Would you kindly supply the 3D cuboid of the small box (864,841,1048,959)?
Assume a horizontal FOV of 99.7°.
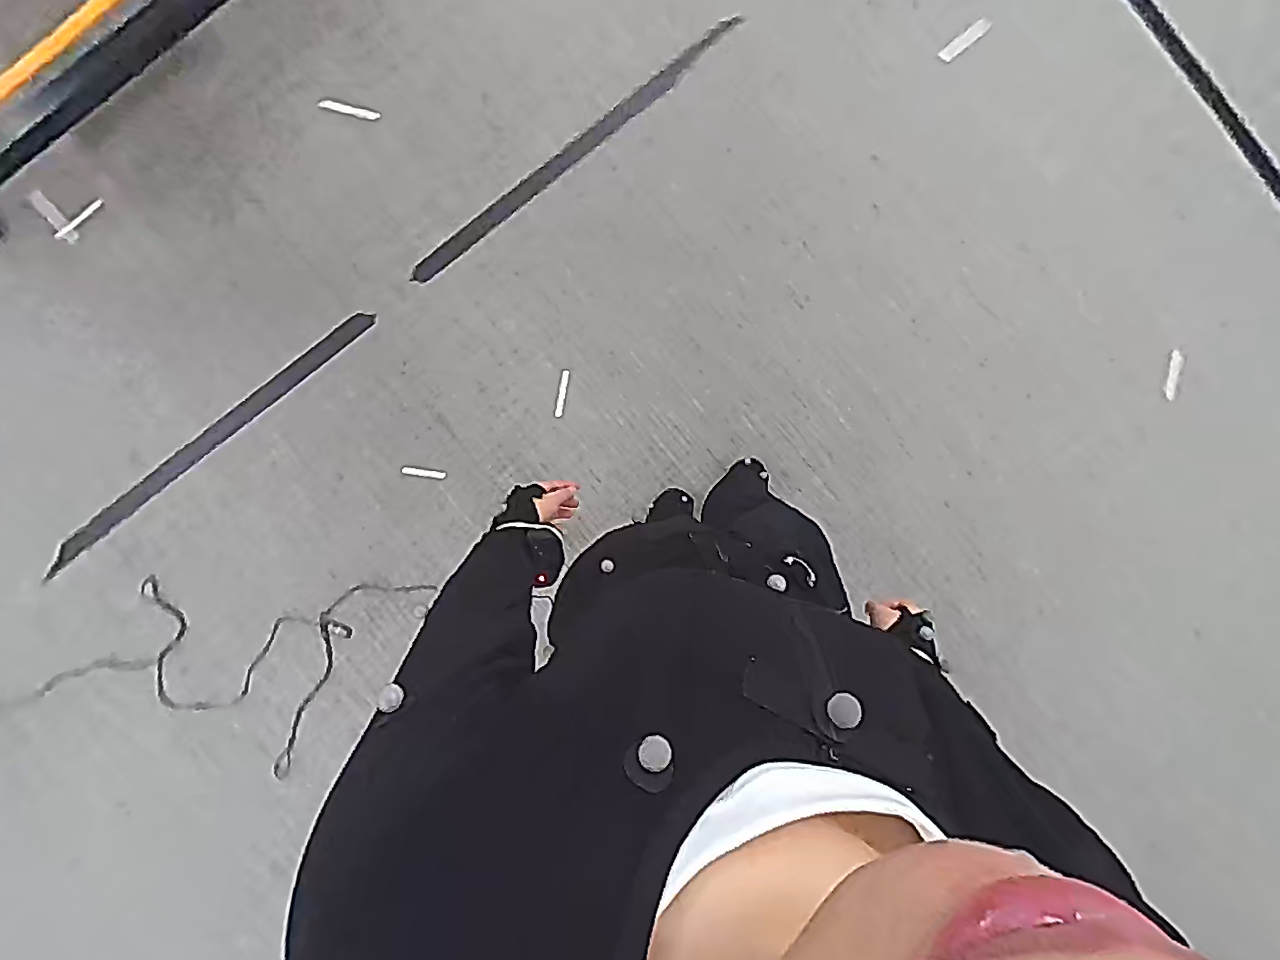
[{"bbox_3d":[0.495,0.726,0.834,0.179,0.176,0.168,-42,91,-3],"label":"small box"}]
